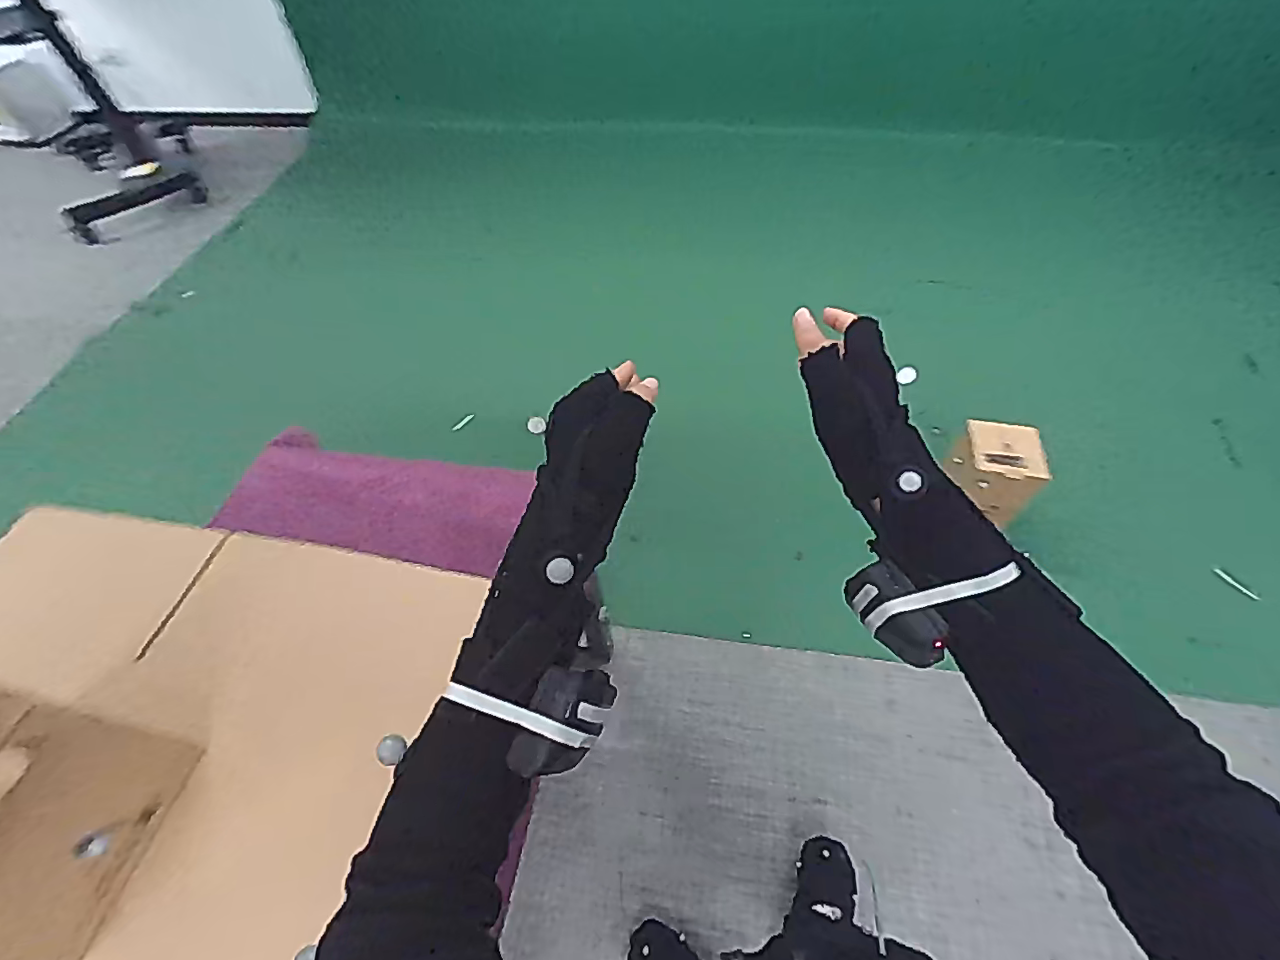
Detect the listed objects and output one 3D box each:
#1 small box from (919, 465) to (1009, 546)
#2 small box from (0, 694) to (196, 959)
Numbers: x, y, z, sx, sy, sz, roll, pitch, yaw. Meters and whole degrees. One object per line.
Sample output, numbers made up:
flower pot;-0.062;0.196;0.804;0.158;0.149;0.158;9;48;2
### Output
small box;0.949;0.080;1.599;0.168;0.176;0.179;7;56;7
small box;-0.510;0.258;0.407;0.179;0.176;0.168;7;55;9
